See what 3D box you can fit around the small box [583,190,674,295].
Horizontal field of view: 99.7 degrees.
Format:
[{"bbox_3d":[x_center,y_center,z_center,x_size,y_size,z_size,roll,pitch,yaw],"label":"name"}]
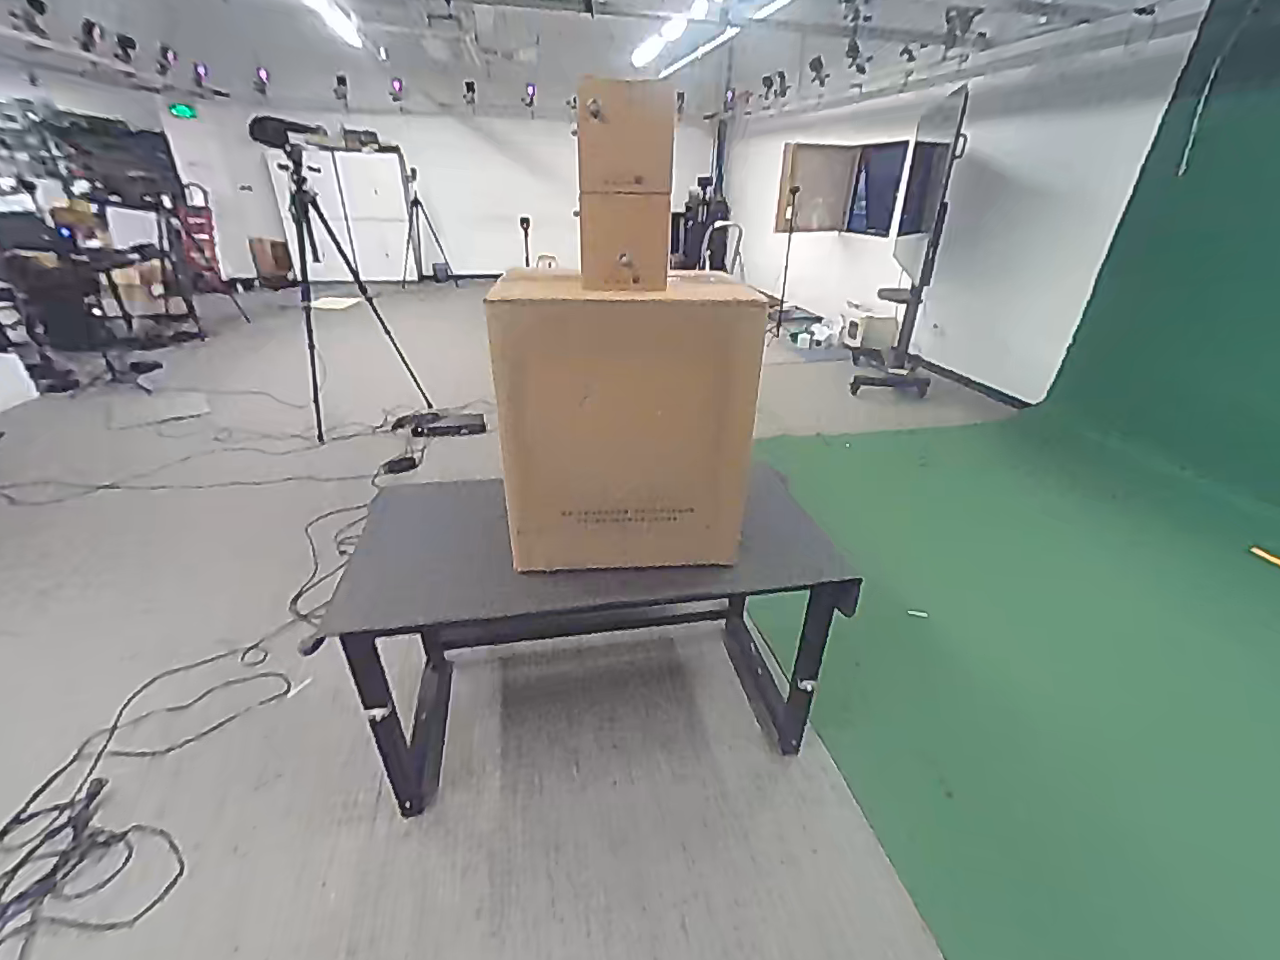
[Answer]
[{"bbox_3d":[-0.029,-0.477,1.080,0.168,0.176,0.179,-1,31,-5],"label":"small box"}]
